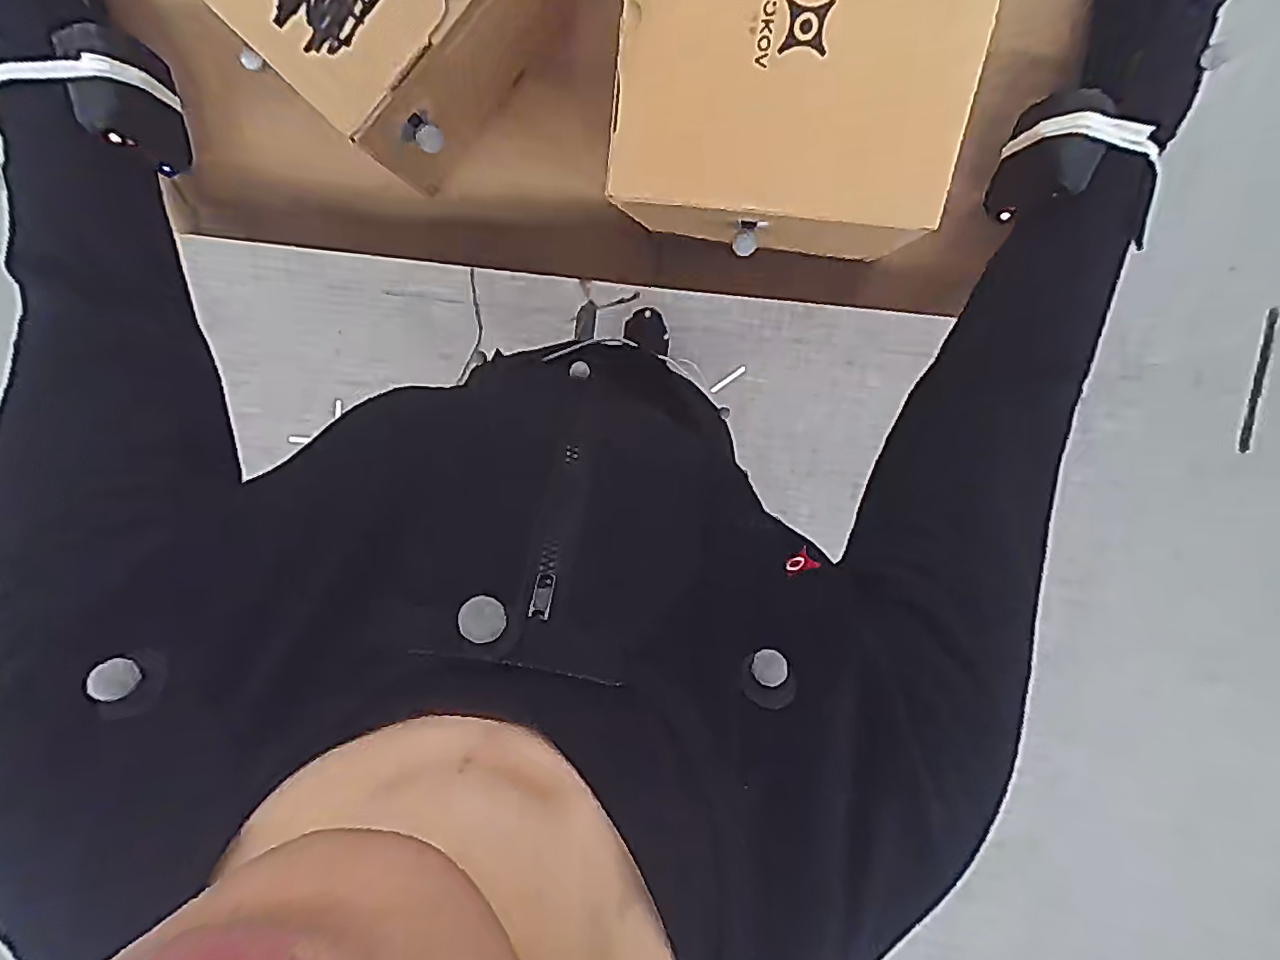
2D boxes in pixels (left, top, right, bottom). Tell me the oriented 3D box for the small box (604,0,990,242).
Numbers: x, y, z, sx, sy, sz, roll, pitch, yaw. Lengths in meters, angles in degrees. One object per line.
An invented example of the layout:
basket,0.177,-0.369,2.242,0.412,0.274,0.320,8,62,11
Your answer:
small box,0.092,-0.251,0.335,0.179,0.176,0.168,12,109,11
